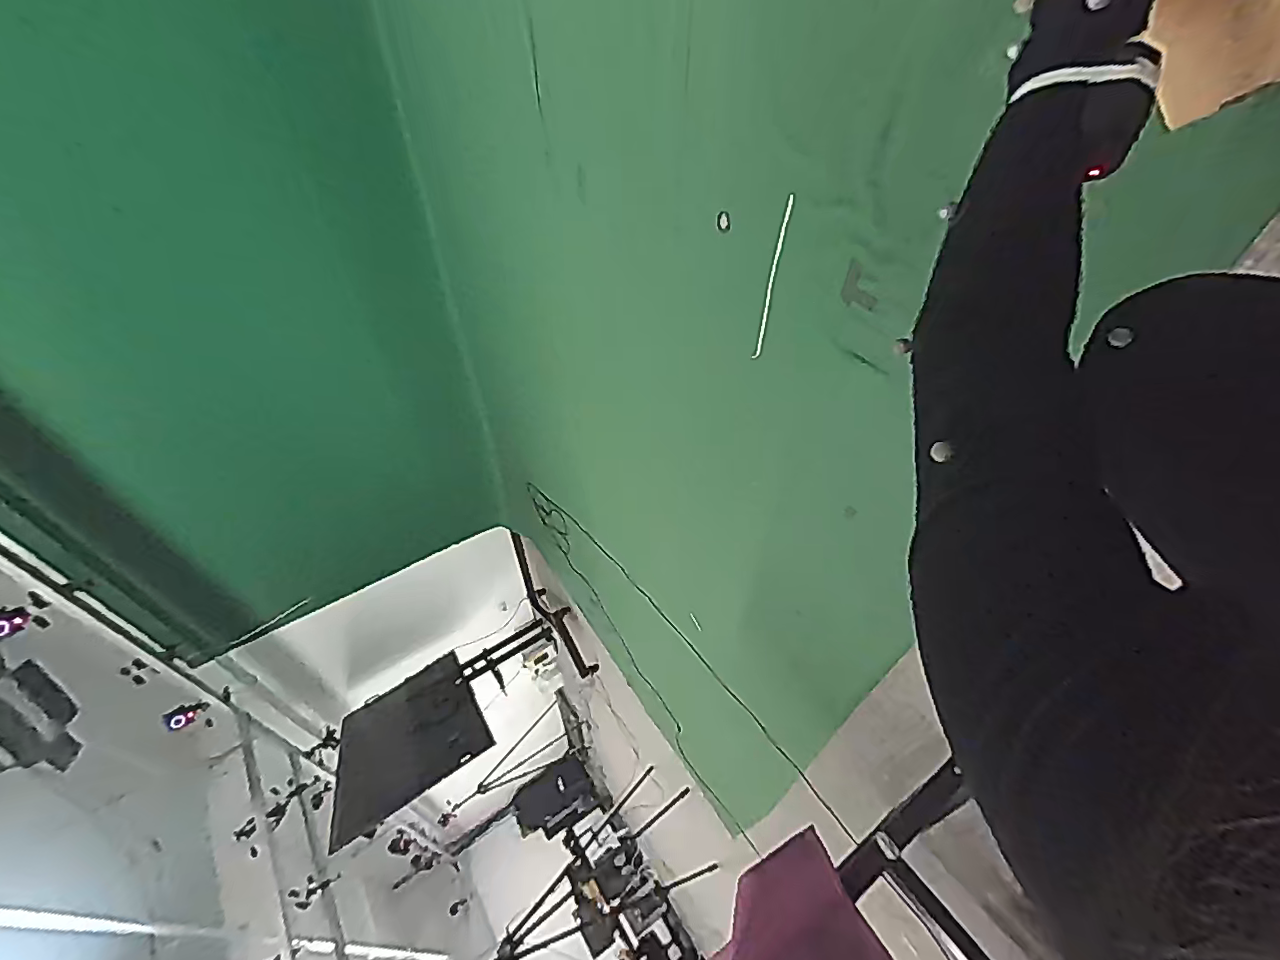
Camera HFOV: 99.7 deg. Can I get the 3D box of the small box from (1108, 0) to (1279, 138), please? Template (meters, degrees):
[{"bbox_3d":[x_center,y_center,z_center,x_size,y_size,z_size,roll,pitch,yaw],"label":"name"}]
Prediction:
[{"bbox_3d":[0.482,-0.402,0.390,0.179,0.176,0.168,60,159,-12],"label":"small box"}]
